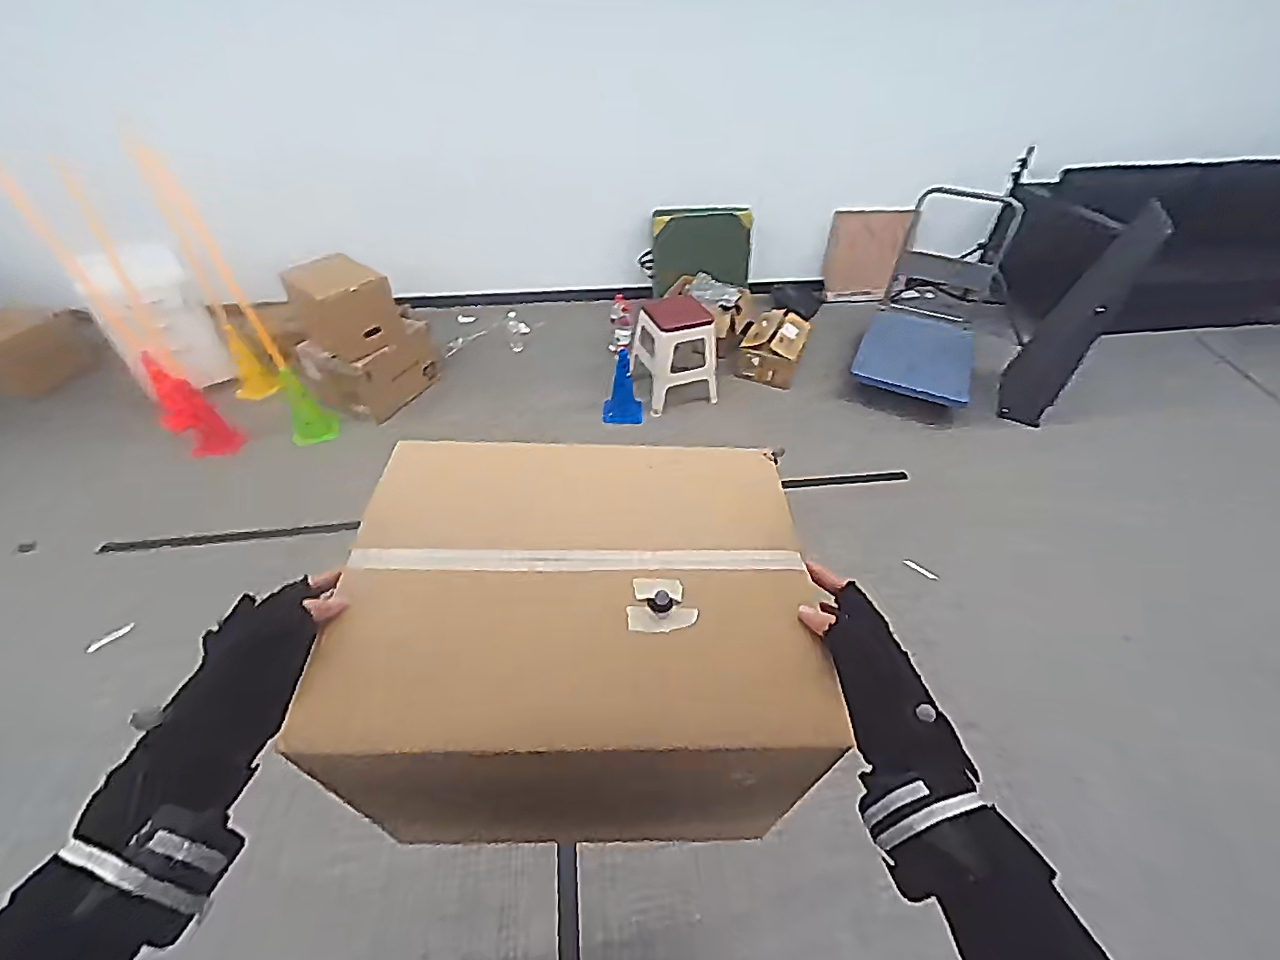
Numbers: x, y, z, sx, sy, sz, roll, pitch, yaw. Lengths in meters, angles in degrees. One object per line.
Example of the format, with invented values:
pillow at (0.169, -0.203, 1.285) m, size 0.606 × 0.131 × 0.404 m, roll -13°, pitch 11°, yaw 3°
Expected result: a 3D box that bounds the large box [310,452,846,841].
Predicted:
large box at (-0.055, 0.184, 0.604) m, size 0.408 × 0.320 × 0.320 m, roll 1°, pitch 47°, yaw -4°
